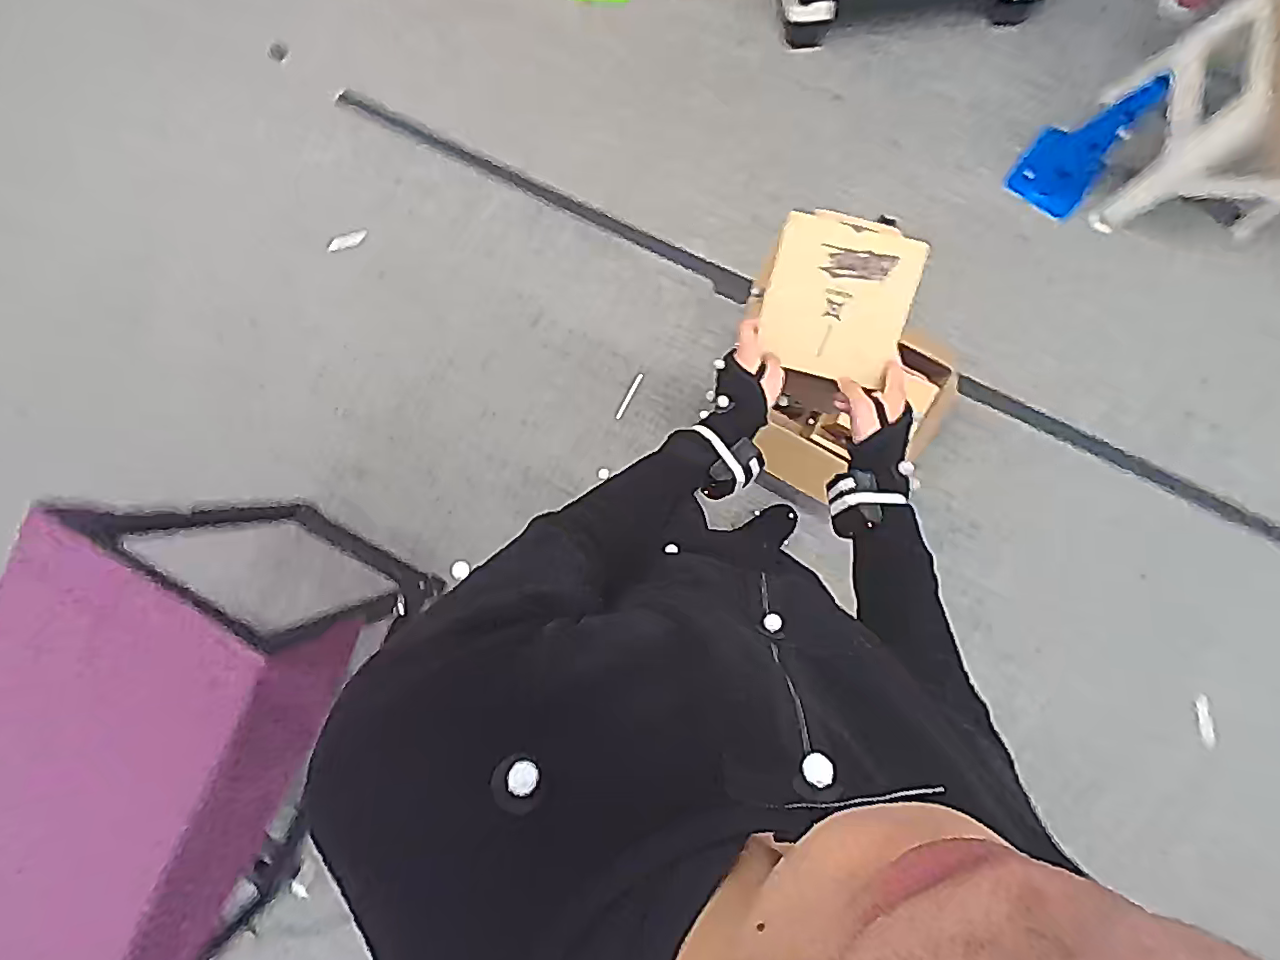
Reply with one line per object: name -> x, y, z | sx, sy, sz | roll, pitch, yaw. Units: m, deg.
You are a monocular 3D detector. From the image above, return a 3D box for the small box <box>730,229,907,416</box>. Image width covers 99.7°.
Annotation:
small box -> 0.230, -0.202, 0.740 | 0.168, 0.176, 0.179 | 15, 87, 0
